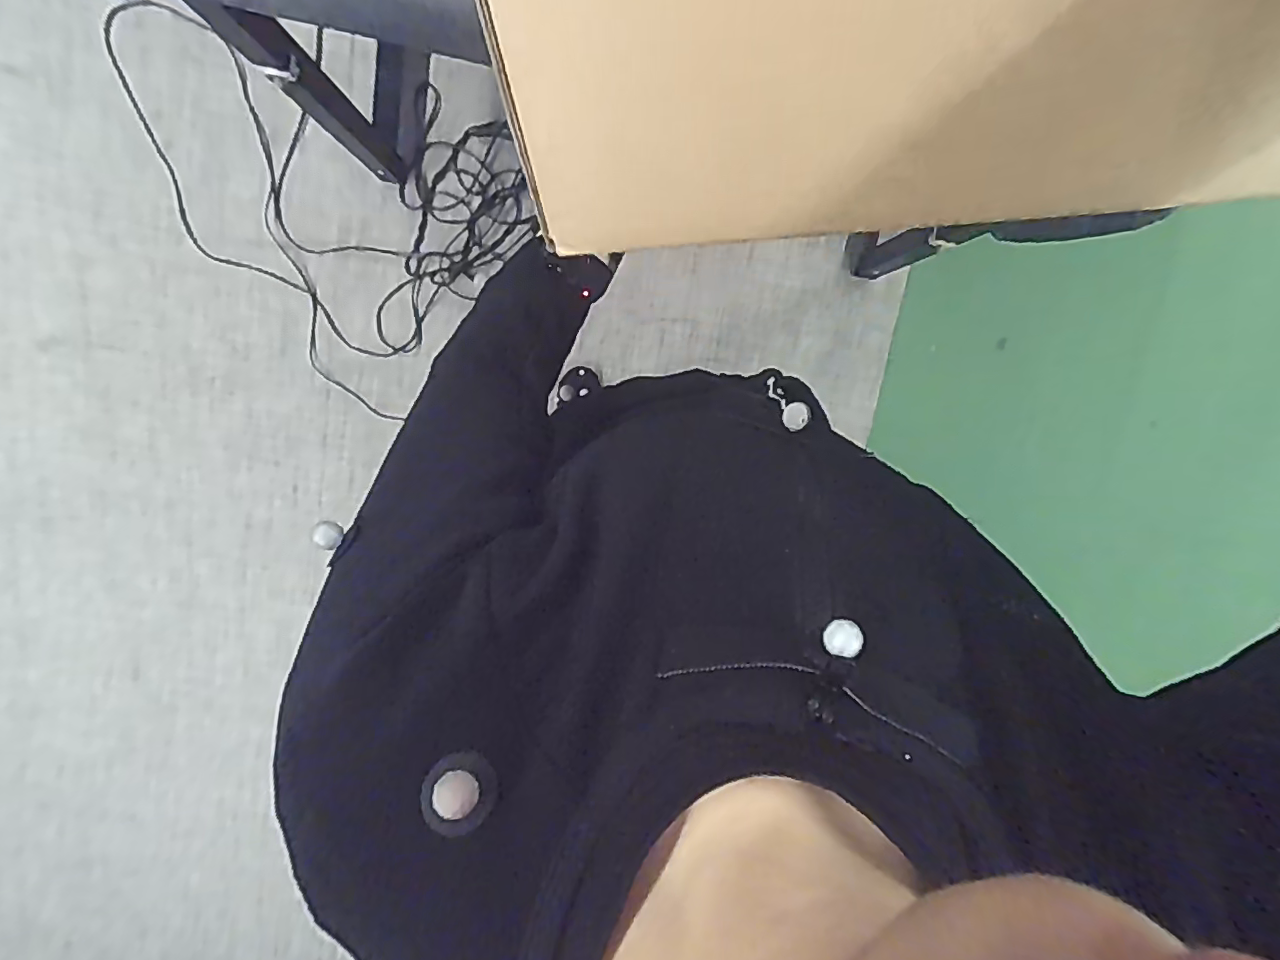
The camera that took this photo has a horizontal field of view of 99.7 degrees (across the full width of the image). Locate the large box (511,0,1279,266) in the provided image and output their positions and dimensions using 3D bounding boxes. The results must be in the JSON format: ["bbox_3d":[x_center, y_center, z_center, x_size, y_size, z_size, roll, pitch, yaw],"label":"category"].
[{"bbox_3d":[0.150,-0.340,0.265,0.408,0.320,0.320,-2,137,11],"label":"large box"}]
